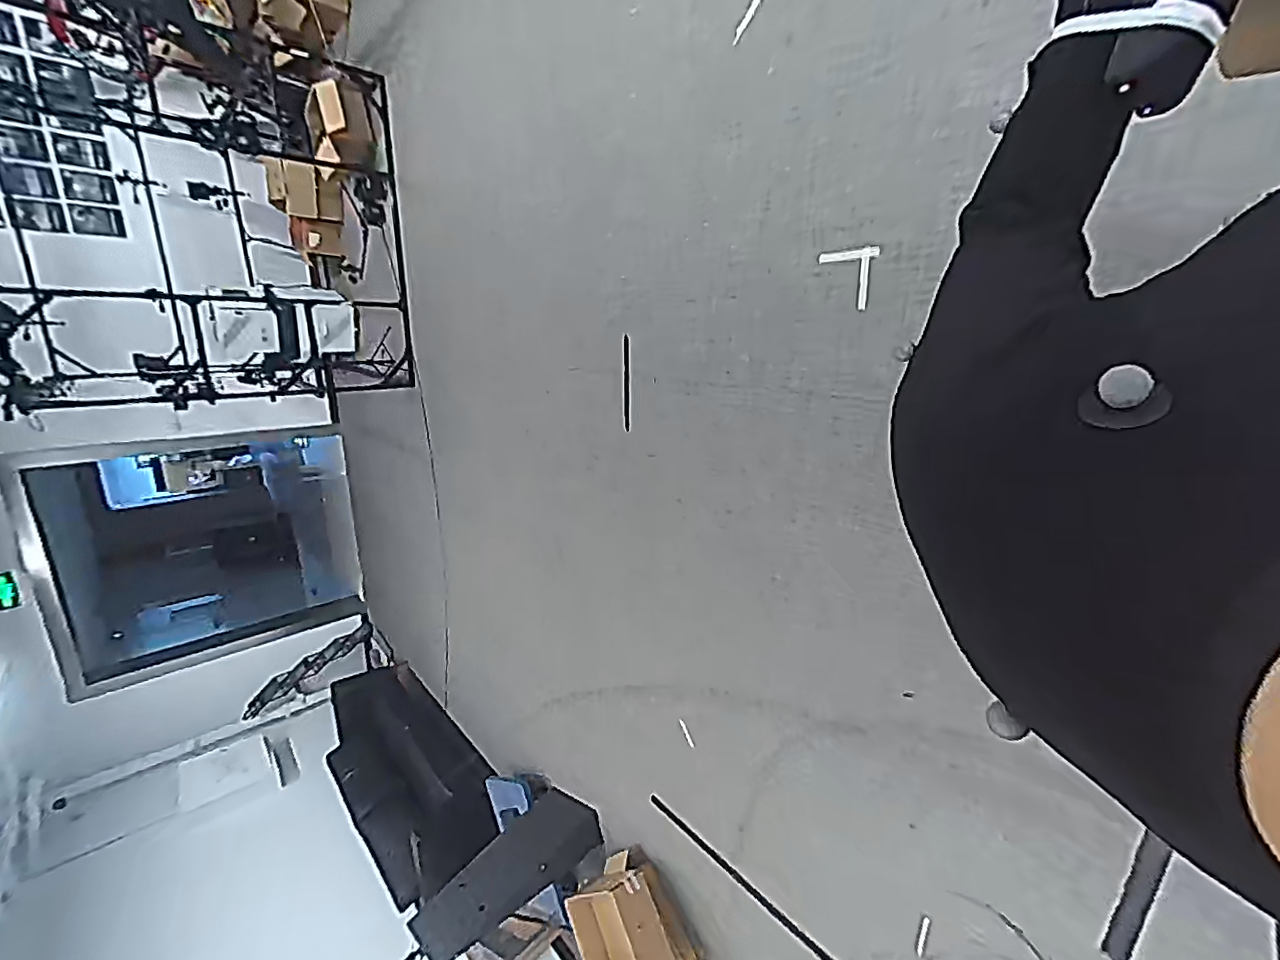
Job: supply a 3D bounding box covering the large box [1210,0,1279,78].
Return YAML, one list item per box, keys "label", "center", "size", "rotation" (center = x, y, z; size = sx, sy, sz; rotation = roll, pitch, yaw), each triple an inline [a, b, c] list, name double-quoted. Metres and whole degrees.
- label: "large box"
  center: [0.604, -0.448, 0.255]
  size: [0.408, 0.320, 0.320]
  rotation: [23, 121, 42]
